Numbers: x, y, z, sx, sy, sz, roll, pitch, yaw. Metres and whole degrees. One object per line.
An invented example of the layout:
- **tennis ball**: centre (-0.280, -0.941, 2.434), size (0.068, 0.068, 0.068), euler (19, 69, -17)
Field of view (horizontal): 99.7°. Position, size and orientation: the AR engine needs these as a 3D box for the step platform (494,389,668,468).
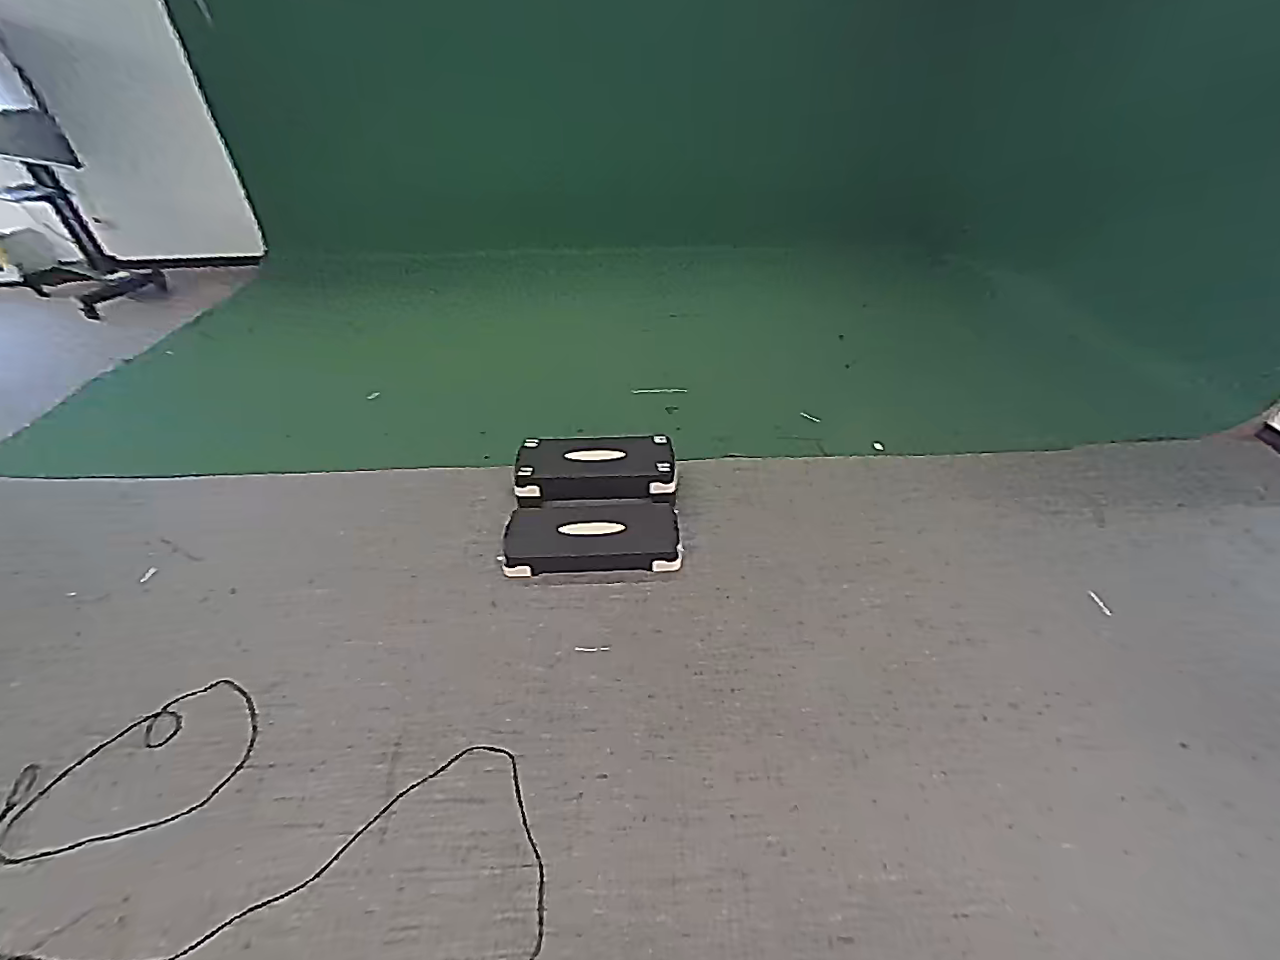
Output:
- **step platform**: centre (-0.228, -0.210, 2.204), size (0.684, 0.204, 0.286), euler (-2, 40, 0)
